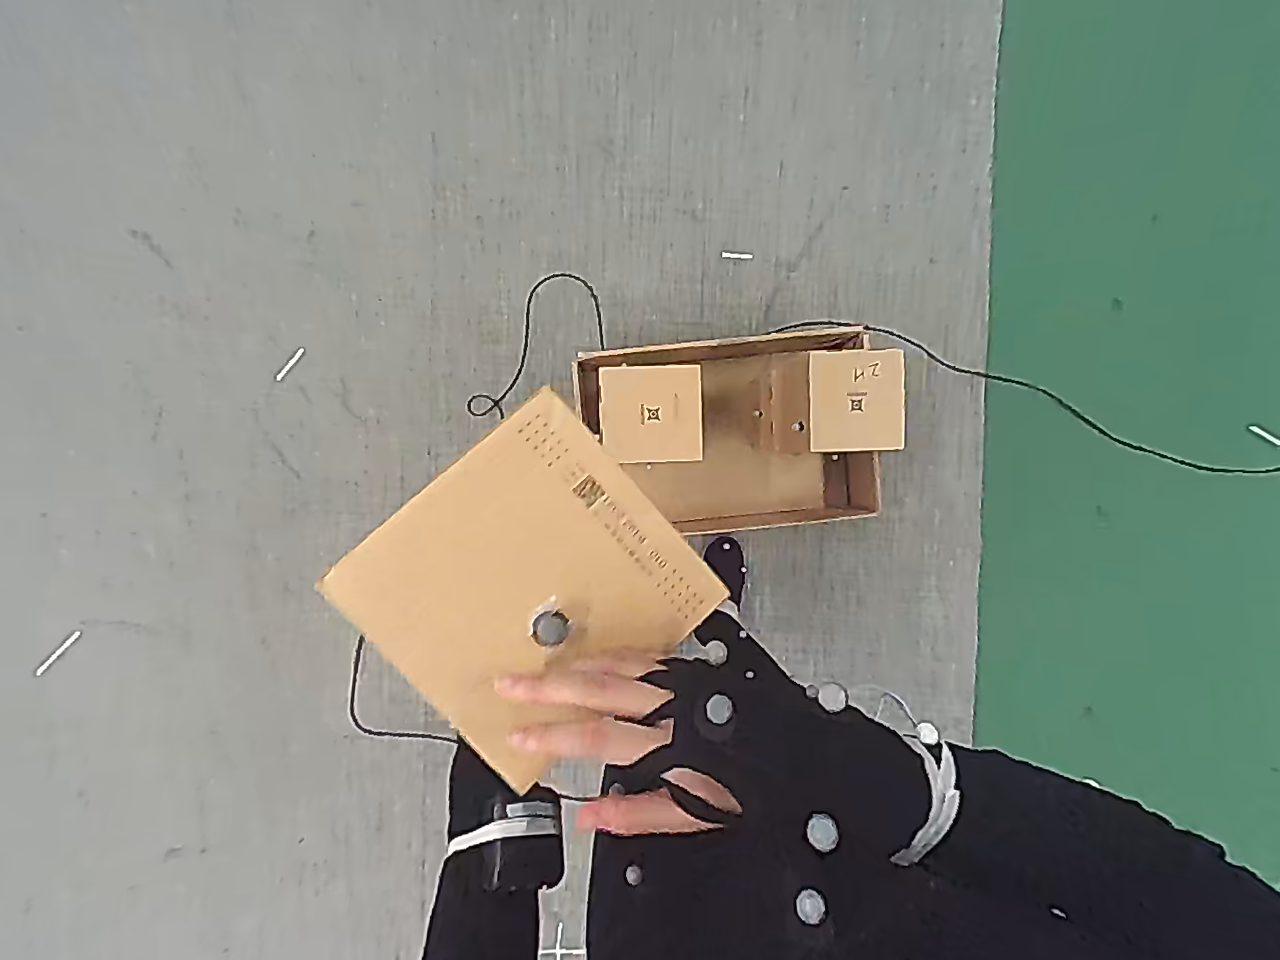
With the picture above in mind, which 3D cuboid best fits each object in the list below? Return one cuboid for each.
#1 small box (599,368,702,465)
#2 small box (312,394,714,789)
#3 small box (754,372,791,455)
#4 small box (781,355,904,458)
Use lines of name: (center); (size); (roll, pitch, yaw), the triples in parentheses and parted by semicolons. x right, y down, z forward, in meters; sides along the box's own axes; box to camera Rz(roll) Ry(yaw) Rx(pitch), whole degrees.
small box: (0.017, -0.111, 0.997); (0.179, 0.176, 0.168); (-1, 93, -2)
small box: (-0.072, 0.058, 0.382); (0.176, 0.179, 0.168); (-41, 95, -6)
small box: (0.347, -0.138, 1.166); (0.179, 0.176, 0.168); (0, 92, -2)
small box: (0.366, -0.130, 1.003); (0.168, 0.176, 0.179); (-1, 92, -2)
